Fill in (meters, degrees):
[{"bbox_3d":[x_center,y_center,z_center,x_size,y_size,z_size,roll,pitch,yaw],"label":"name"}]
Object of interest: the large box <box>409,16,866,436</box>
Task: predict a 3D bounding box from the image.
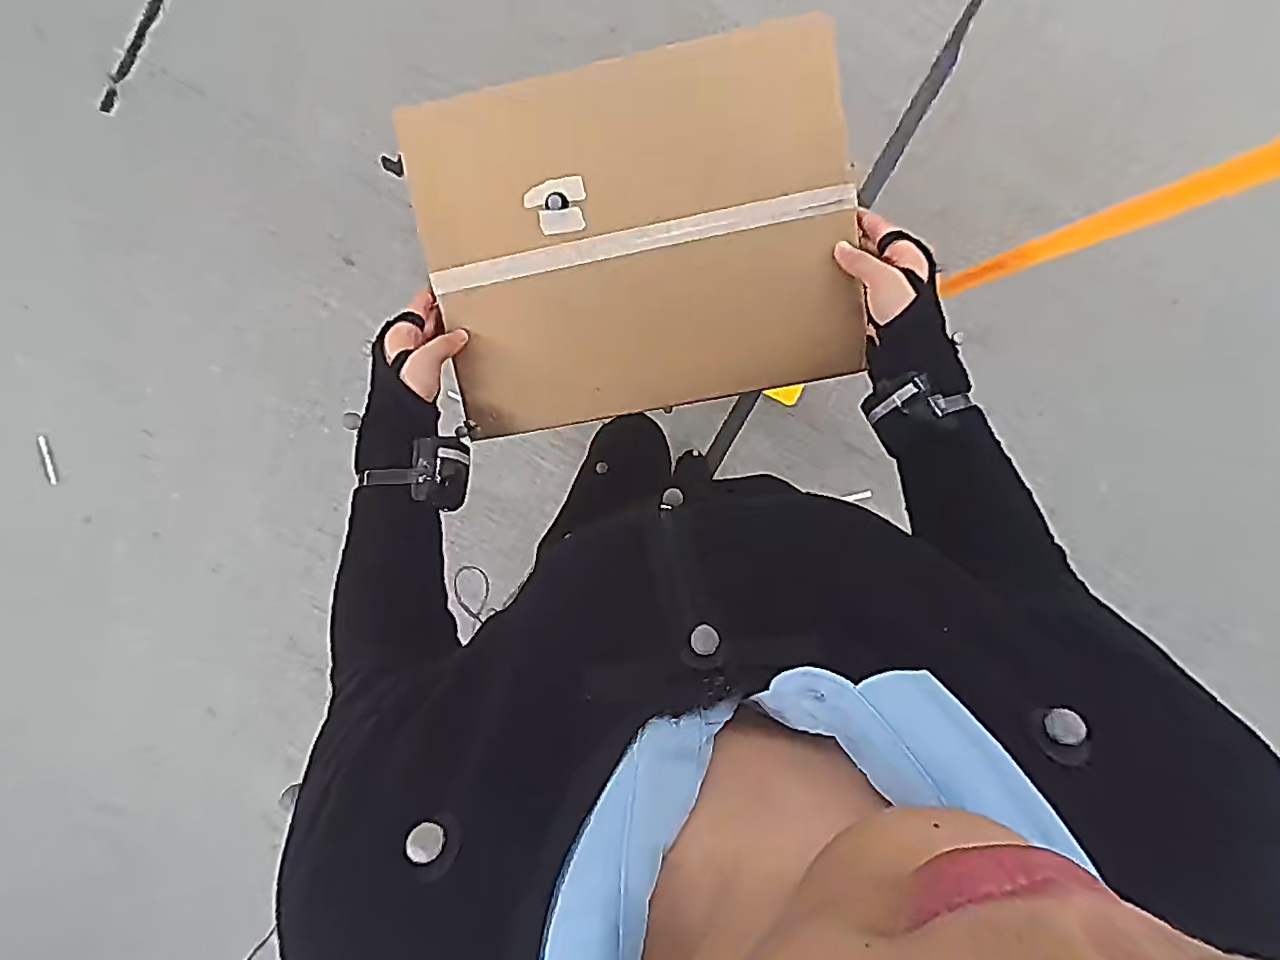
[{"bbox_3d":[0.010,-0.259,0.669,0.408,0.320,0.320,-10,99,5],"label":"large box"}]
